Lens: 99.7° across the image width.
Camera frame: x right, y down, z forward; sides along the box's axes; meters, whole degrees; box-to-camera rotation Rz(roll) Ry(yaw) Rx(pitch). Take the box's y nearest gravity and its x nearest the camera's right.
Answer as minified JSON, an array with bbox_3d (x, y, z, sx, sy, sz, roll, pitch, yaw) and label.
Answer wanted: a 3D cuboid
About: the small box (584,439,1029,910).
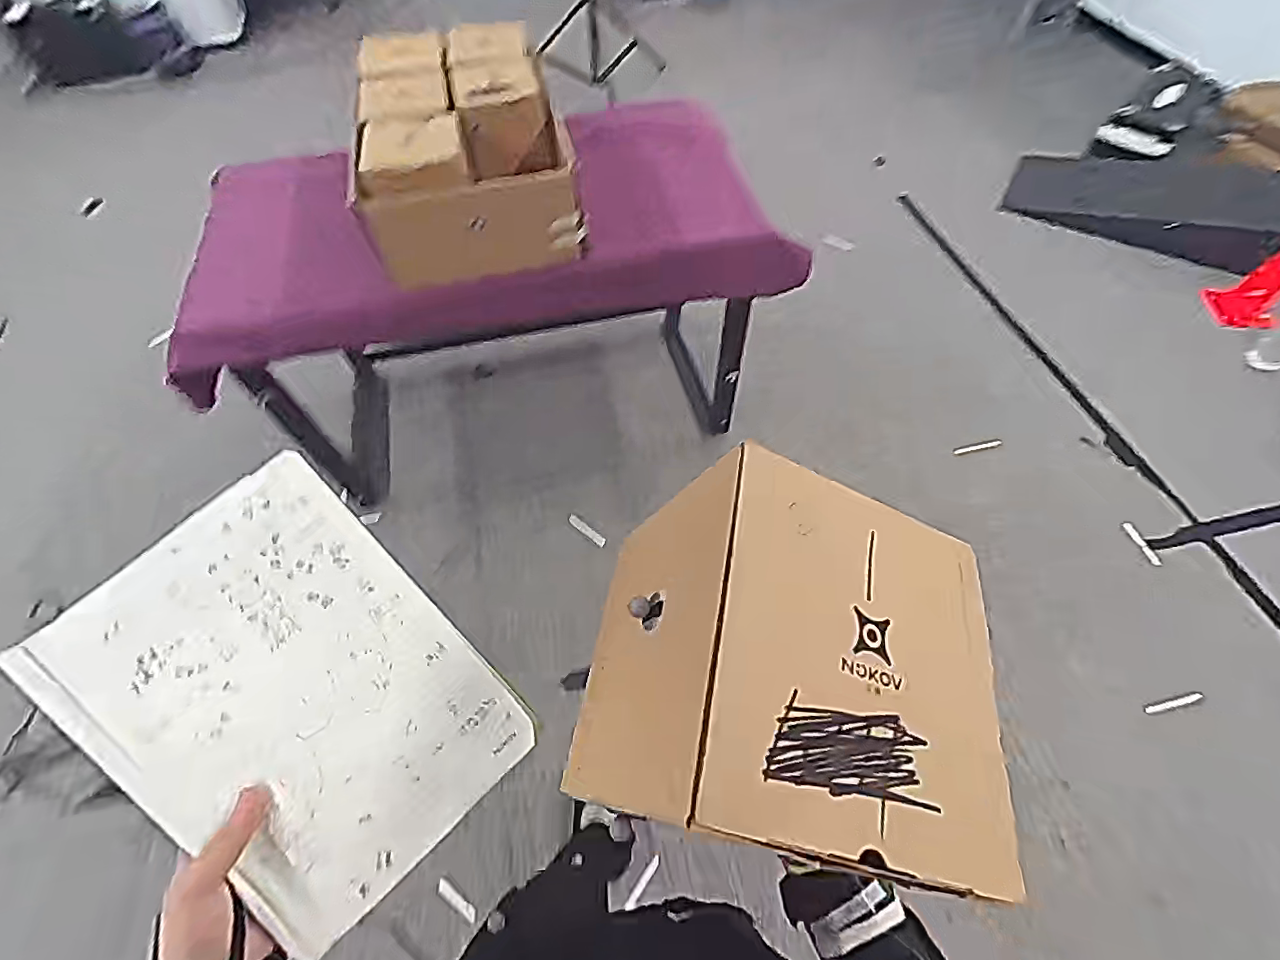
[{"bbox_3d":[0.079,0.112,0.320,0.168,0.176,0.179,23,58,-13],"label":"small box"}]
